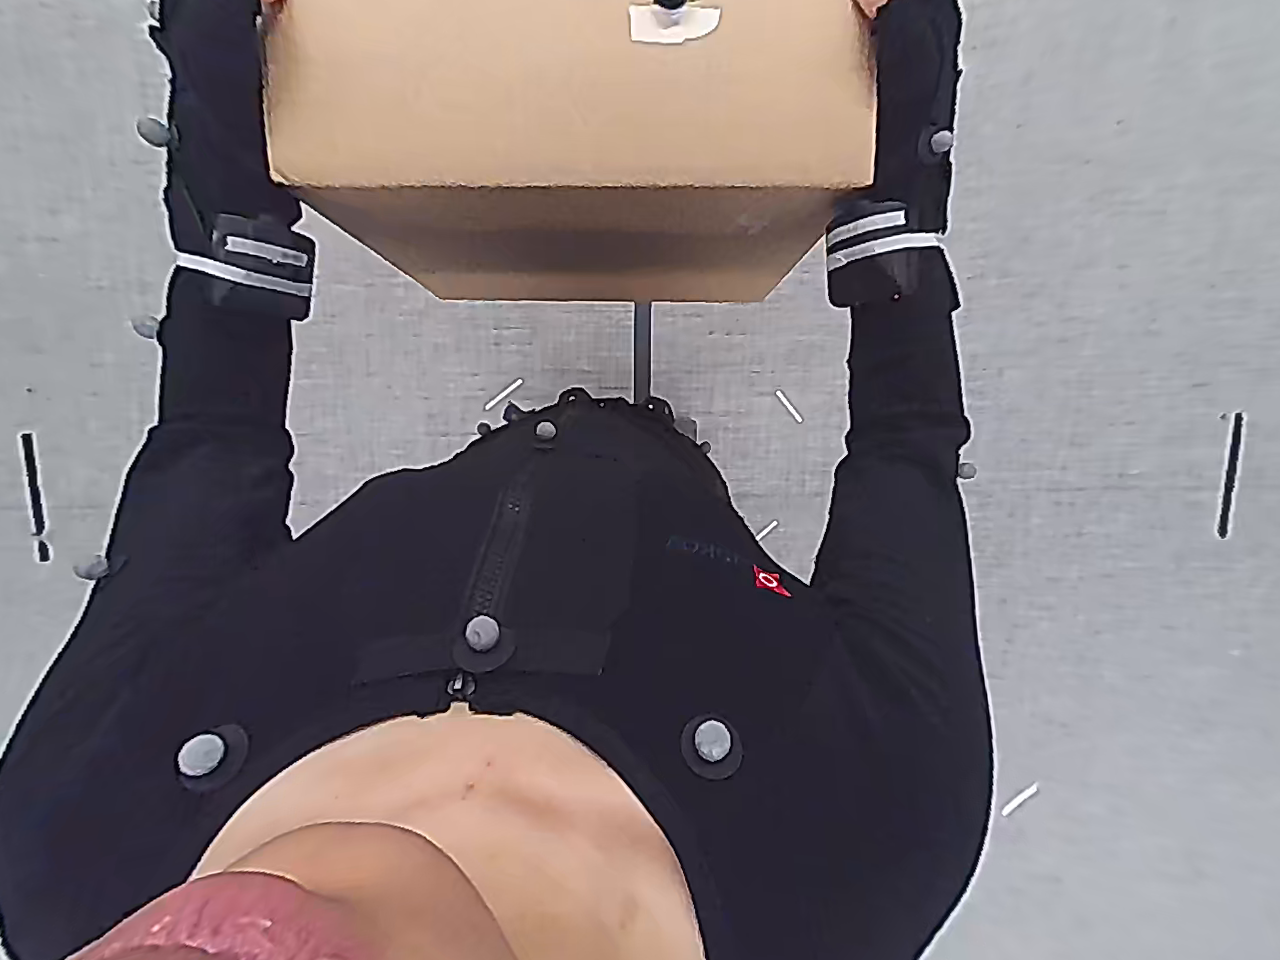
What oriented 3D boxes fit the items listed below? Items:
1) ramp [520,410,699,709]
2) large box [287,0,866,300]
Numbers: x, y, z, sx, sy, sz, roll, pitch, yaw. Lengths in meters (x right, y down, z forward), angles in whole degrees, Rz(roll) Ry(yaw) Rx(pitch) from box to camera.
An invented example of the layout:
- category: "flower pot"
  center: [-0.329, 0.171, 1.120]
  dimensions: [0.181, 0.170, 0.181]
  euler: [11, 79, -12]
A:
- category: "ramp"
  center: [-0.072, 0.284, 1.630]
  dimensions: [0.509, 0.206, 0.991]
  euler: [-3, 100, -1]
- category: "large box"
  center: [-0.045, -0.371, 0.517]
  dimensions: [0.408, 0.320, 0.320]
  euler: [0, 95, -1]
